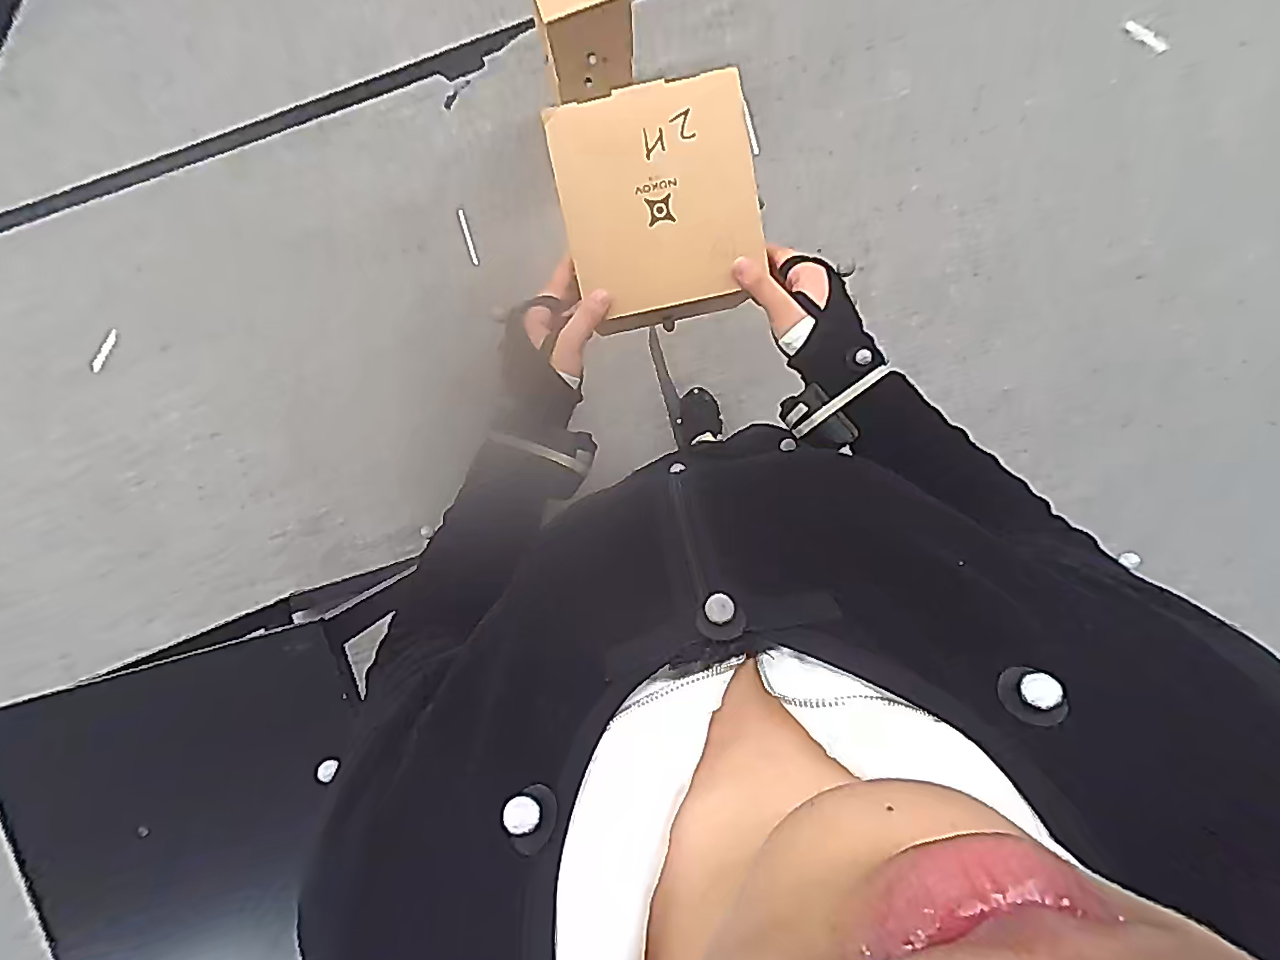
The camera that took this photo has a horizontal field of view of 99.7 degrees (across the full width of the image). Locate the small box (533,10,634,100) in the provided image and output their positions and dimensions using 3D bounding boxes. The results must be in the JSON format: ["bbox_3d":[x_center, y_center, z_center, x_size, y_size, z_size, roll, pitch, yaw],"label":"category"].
[{"bbox_3d":[-0.117,-0.918,1.193,0.168,0.176,0.179,-19,92,3],"label":"small box"}]

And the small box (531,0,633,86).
[{"bbox_3d":[-0.117,-0.909,1.028,0.168,0.176,0.179,-19,94,3],"label":"small box"}]

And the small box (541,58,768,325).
[{"bbox_3d":[0.016,-0.257,0.533,0.168,0.176,0.179,-12,100,3],"label":"small box"}]
